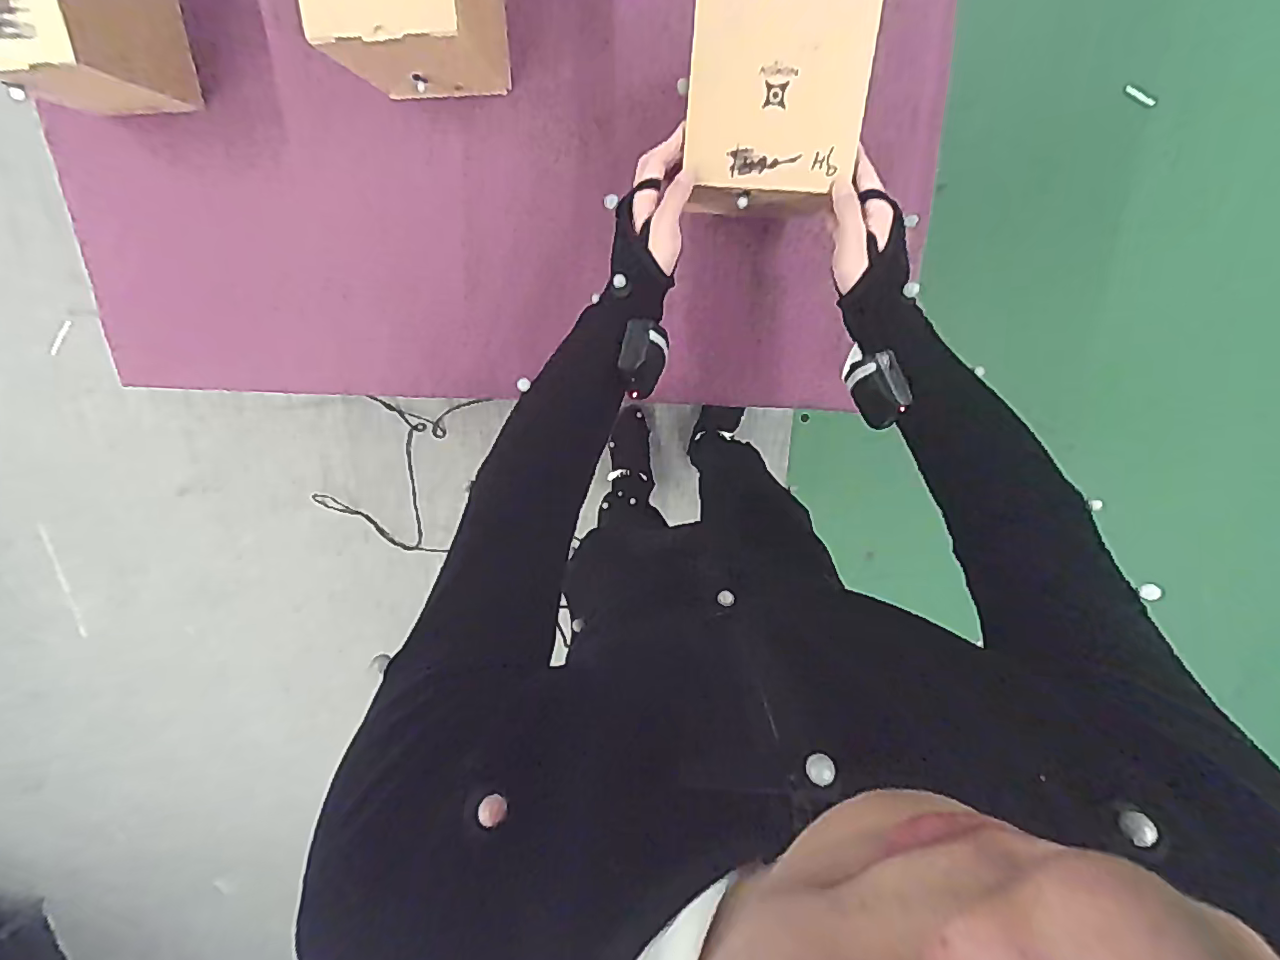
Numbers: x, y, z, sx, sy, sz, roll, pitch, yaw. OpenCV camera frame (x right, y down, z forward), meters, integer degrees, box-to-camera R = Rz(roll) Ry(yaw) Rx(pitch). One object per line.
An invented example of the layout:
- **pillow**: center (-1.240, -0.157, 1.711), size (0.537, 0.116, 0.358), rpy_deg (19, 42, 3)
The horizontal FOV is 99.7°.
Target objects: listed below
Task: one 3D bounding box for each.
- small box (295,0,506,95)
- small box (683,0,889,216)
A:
- **small box**: center (-0.255, -0.551, 0.589), size (0.168, 0.176, 0.179), rpy_deg (1, 109, 4)
- **small box**: center (0.135, -0.390, 0.568), size (0.168, 0.176, 0.179), rpy_deg (5, 110, 2)
